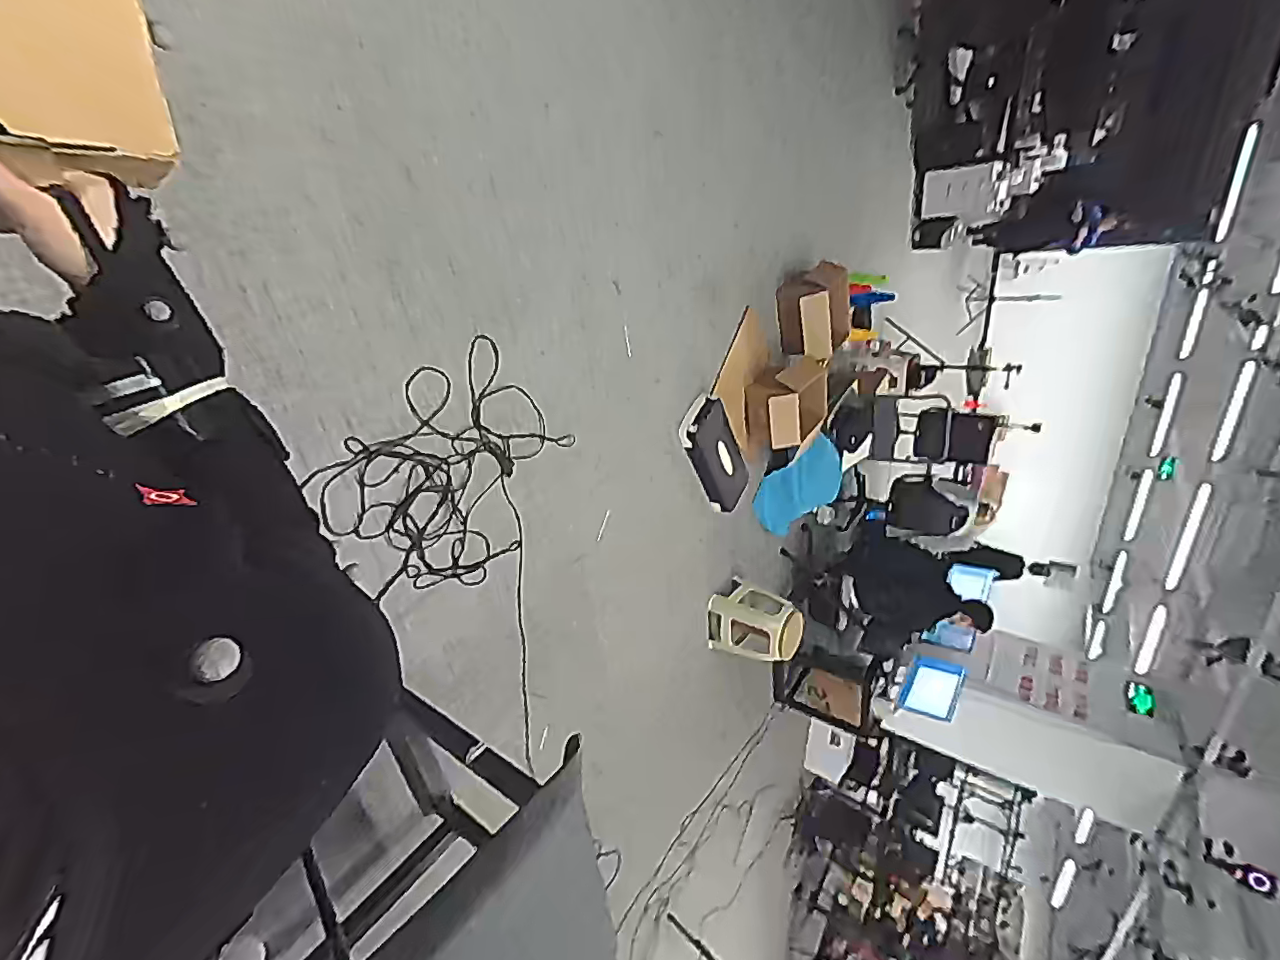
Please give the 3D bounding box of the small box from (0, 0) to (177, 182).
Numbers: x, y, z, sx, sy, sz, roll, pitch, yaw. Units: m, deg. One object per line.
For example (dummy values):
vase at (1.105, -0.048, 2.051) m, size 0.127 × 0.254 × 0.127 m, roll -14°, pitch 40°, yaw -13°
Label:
small box at (-0.412, -0.292, 0.321) m, size 0.168 × 0.176 × 0.179 m, roll -17°, pitch 119°, yaw -41°
